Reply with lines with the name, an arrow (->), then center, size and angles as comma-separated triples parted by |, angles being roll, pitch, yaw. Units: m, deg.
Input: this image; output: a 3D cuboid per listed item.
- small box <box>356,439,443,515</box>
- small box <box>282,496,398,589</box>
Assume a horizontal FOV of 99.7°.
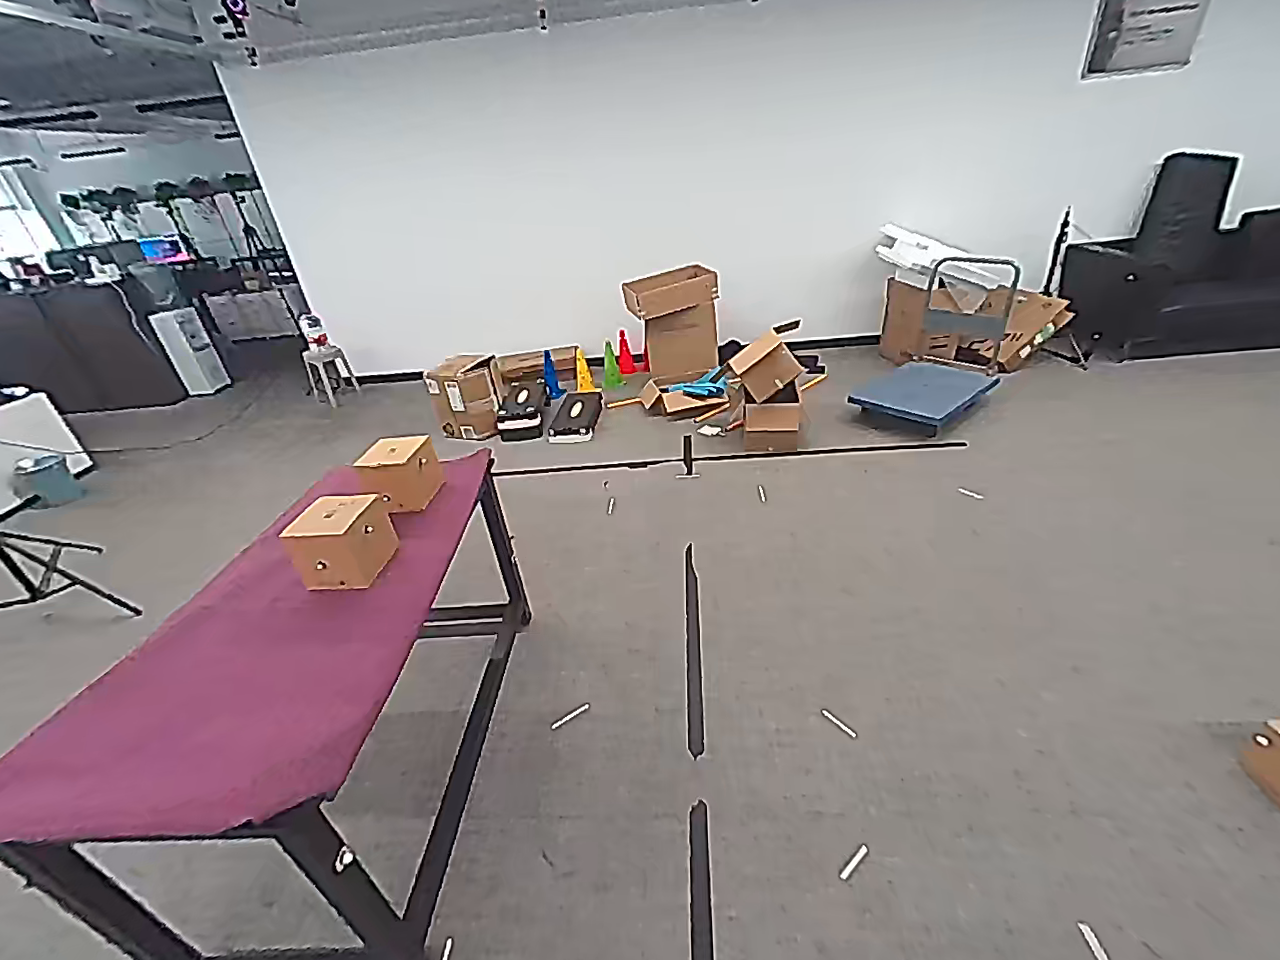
small box -> -0.721, -0.010, 1.649 | 0.168, 0.176, 0.179 | -3, 31, 8
small box -> -0.739, 0.160, 1.359 | 0.168, 0.176, 0.179 | -2, 30, 7
